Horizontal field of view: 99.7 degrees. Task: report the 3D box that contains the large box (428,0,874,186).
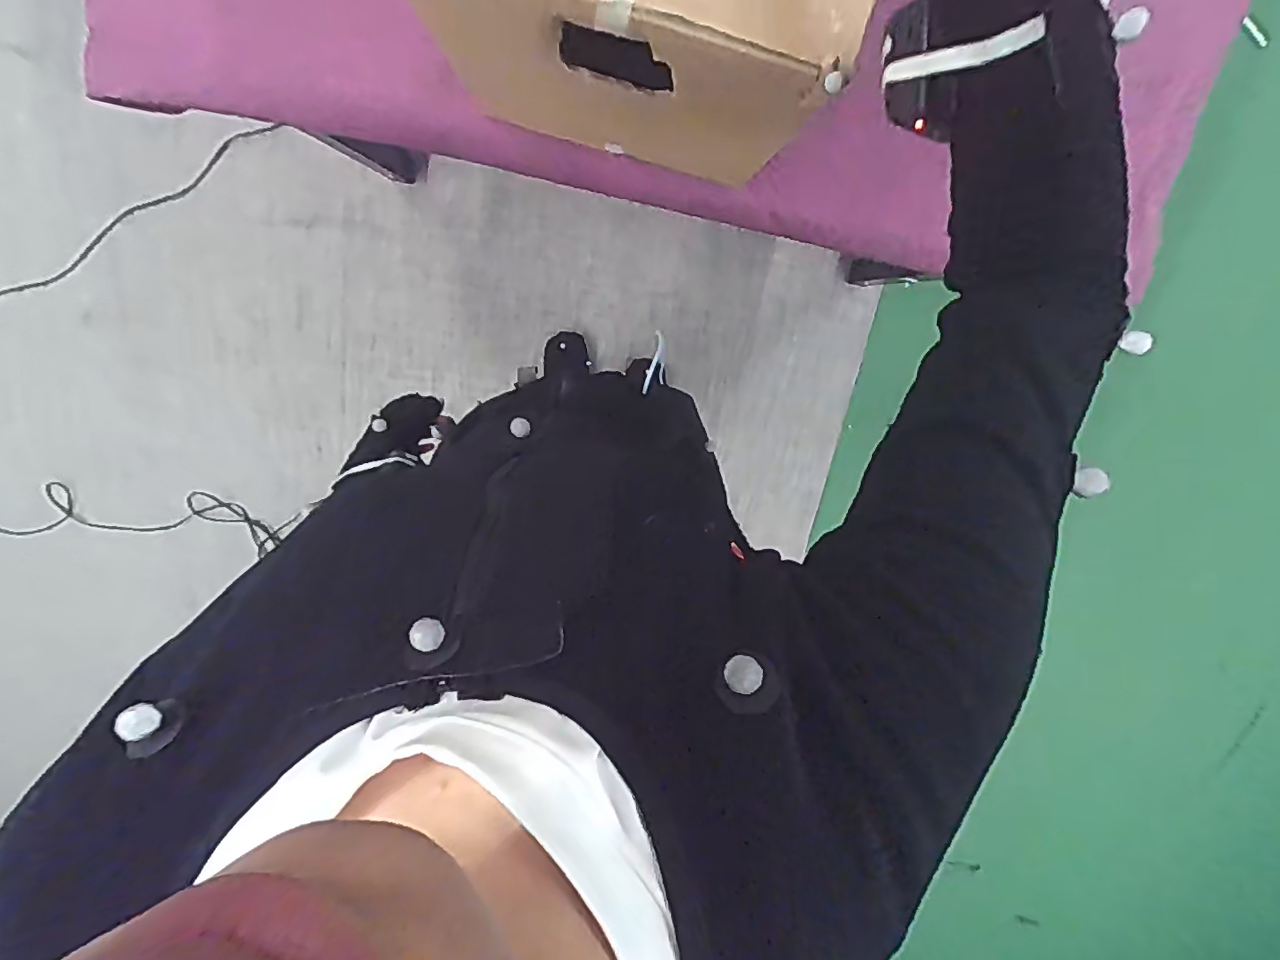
[{"bbox_3d":[0.031,-0.525,0.443,0.320,0.320,0.408,13,107,-6],"label":"large box"}]
